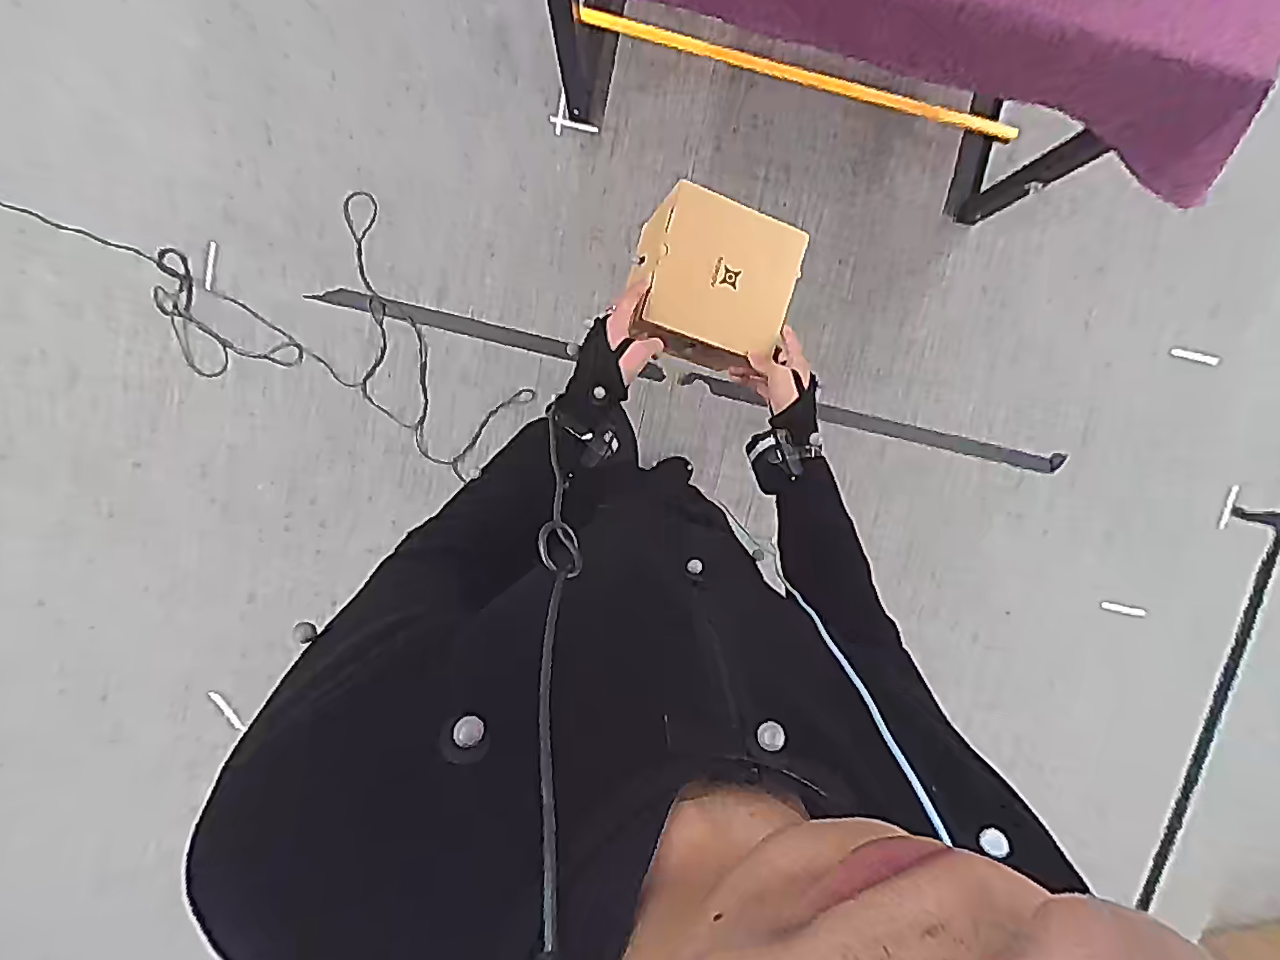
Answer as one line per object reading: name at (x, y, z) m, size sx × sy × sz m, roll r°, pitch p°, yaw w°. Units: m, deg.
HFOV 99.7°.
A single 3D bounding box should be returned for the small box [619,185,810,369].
small box at (0.087, -0.251, 0.719) m, size 0.179 × 0.176 × 0.168 m, roll 16°, pitch 95°, yaw -14°
